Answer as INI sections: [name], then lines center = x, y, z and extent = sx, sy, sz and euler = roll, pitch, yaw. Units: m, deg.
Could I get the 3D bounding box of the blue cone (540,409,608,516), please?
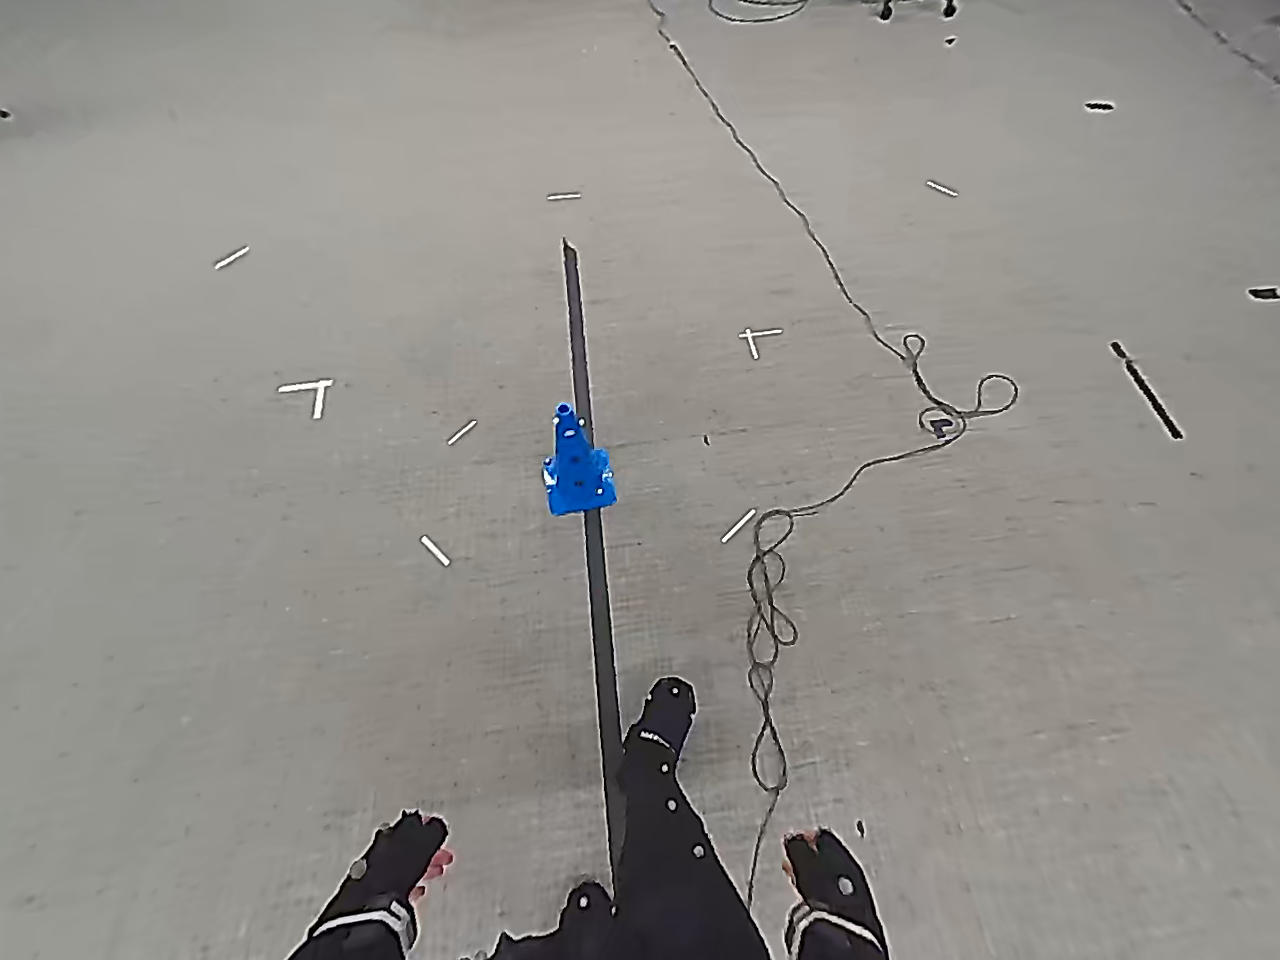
[blue cone]
center = -0.200, -0.070, 1.476
extent = 0.192, 0.380, 0.193
euler = -10, 60, -4
